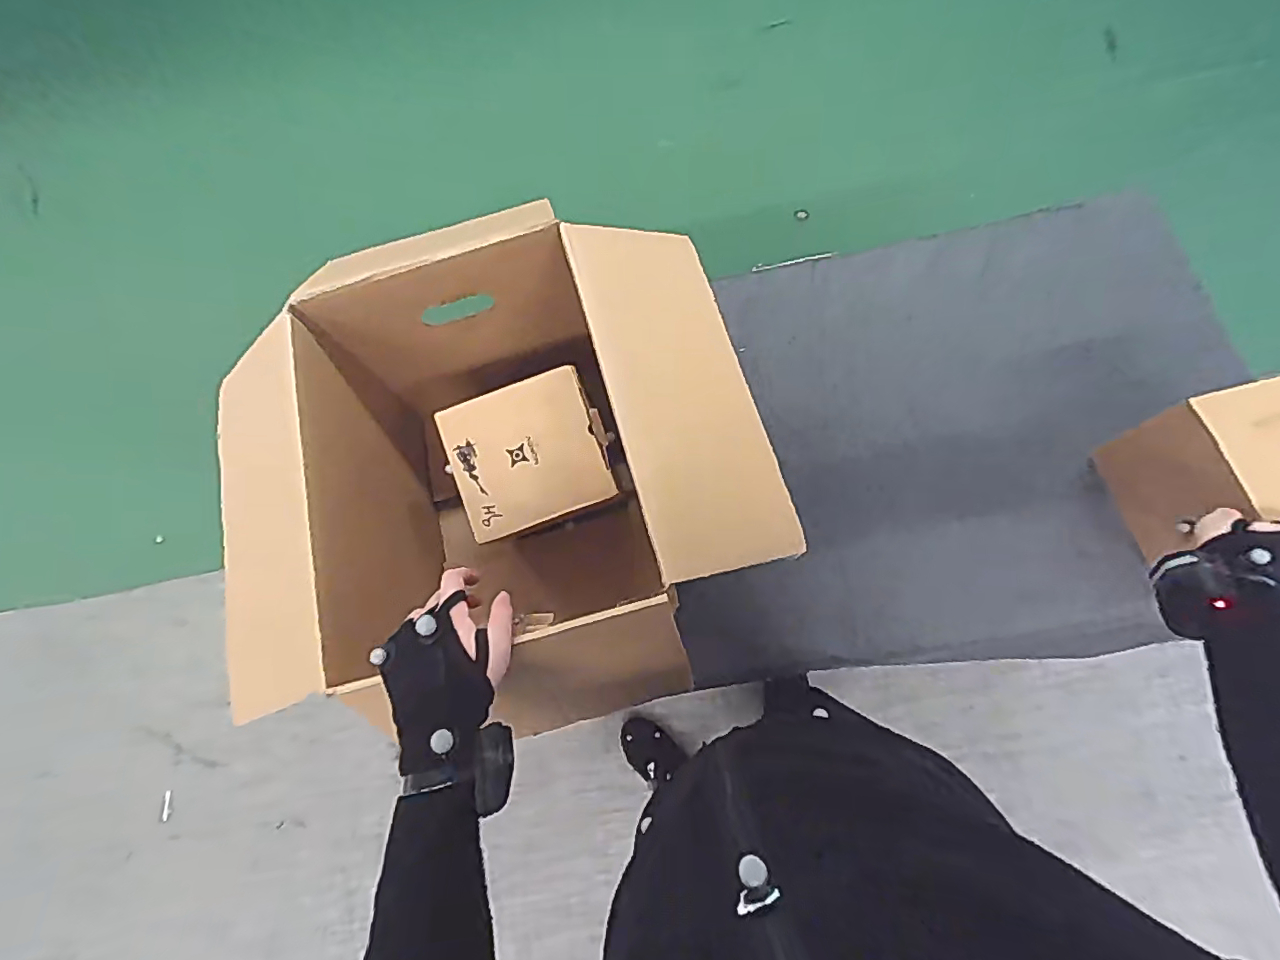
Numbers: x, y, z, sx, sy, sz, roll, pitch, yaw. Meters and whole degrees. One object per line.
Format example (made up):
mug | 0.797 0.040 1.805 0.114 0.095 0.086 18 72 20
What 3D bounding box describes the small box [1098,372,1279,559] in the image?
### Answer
small box | 0.711 -0.011 0.639 0.168 0.176 0.179 -14 71 3
